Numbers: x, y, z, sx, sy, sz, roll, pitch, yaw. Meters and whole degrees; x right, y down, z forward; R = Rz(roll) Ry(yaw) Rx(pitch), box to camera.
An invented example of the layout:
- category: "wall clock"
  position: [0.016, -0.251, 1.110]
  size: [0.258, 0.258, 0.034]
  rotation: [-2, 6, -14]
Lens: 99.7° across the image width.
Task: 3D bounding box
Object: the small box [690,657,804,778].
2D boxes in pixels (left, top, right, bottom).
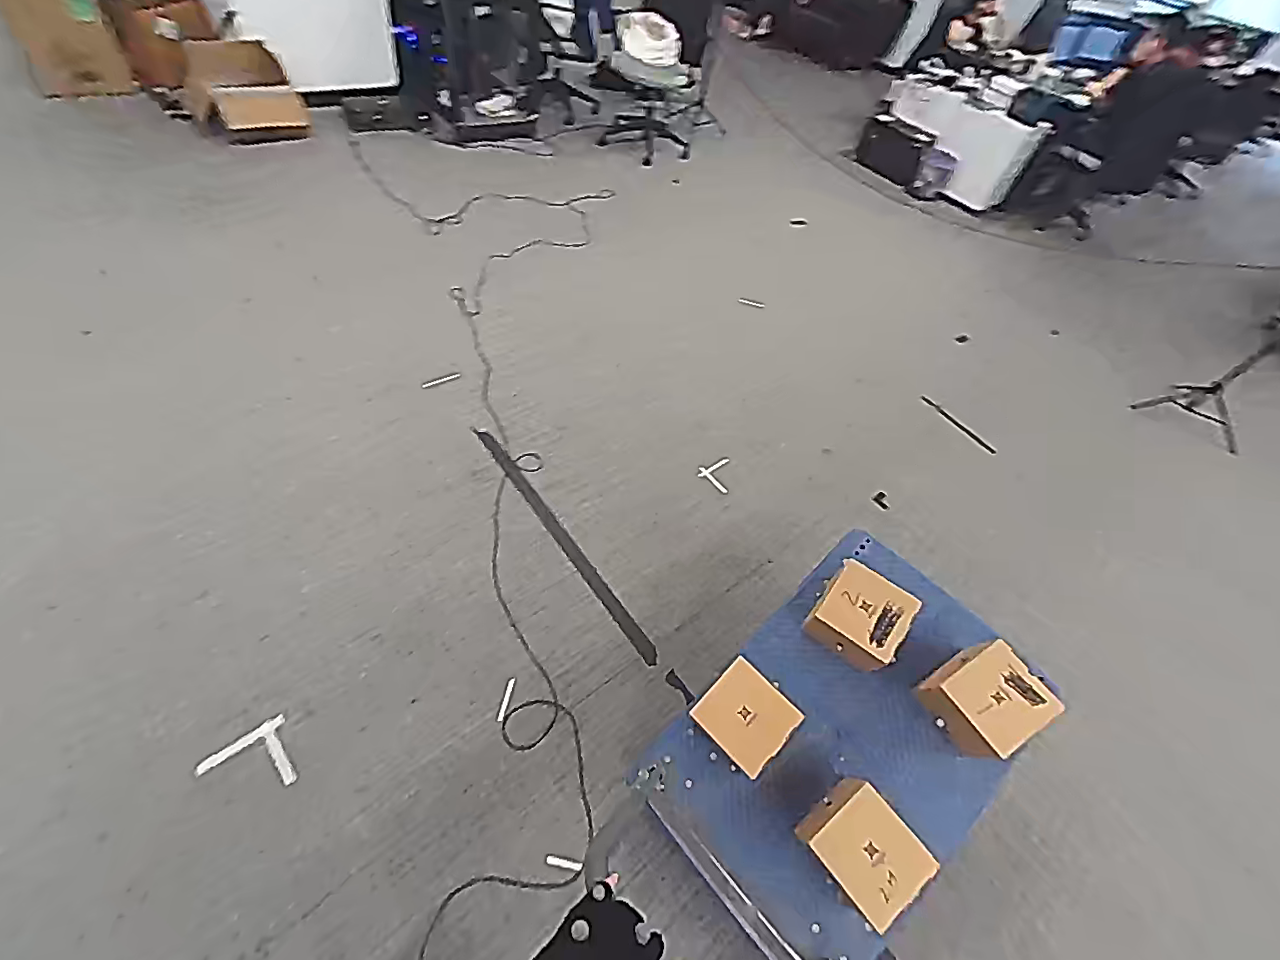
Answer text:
- category: "small box"
  position: [0.223, 0.518, 1.180]
  size: [0.168, 0.176, 0.179]
  rotation: [-42, 70, -15]

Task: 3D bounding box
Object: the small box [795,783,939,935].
- category: "small box"
  position: [0.432, 0.727, 1.062]
  size: [0.168, 0.176, 0.179]
  rotation: [-36, 67, -12]

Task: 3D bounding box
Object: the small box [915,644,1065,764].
- category: "small box"
  position: [0.735, 0.479, 1.160]
  size: [0.179, 0.176, 0.168]
  rotation: [-31, 66, -10]
